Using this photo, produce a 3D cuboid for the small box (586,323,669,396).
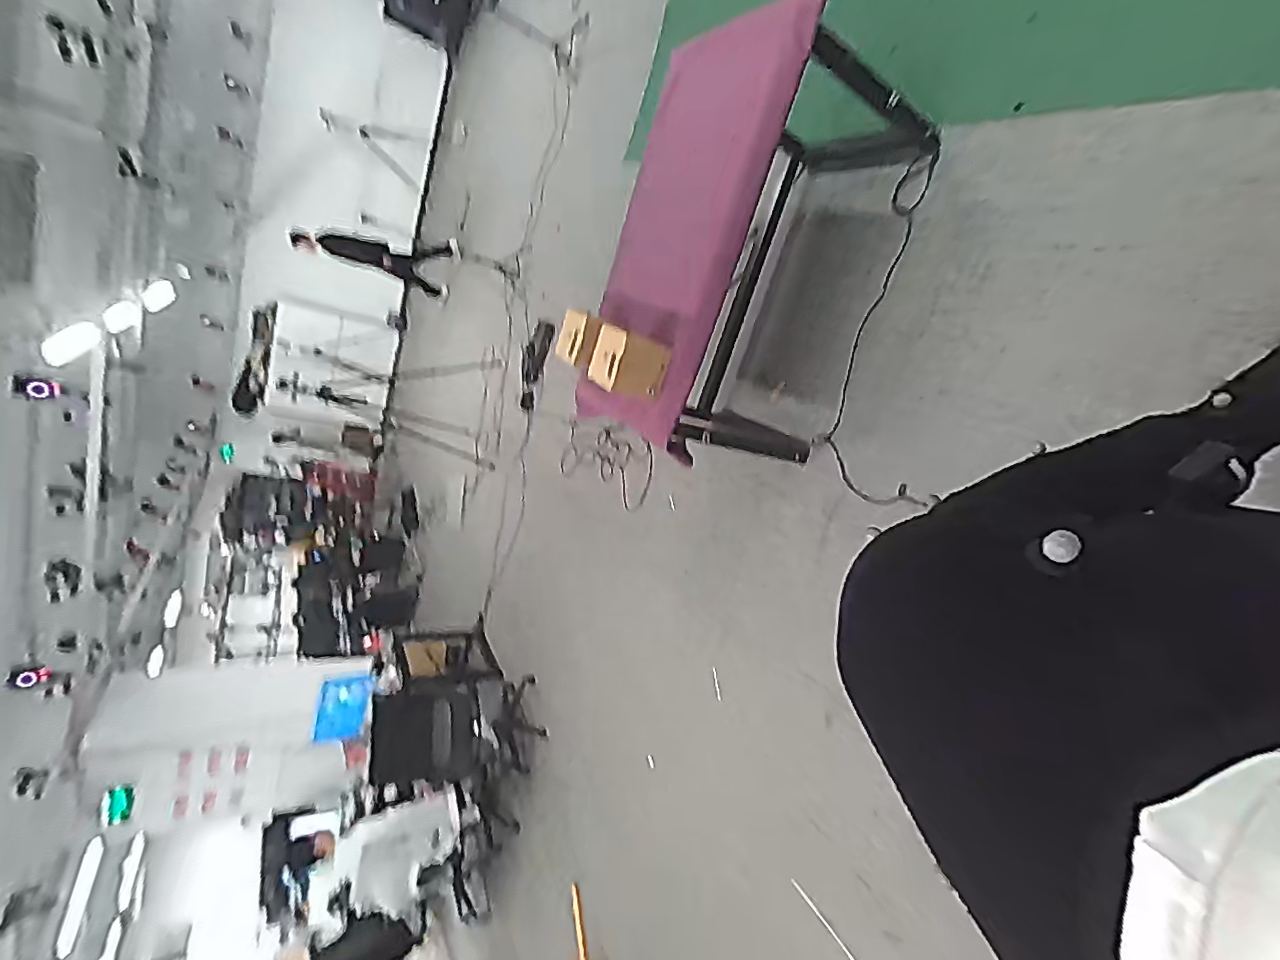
[{"bbox_3d":[-0.037,-0.365,1.653,0.179,0.176,0.168,41,116,52],"label":"small box"}]
